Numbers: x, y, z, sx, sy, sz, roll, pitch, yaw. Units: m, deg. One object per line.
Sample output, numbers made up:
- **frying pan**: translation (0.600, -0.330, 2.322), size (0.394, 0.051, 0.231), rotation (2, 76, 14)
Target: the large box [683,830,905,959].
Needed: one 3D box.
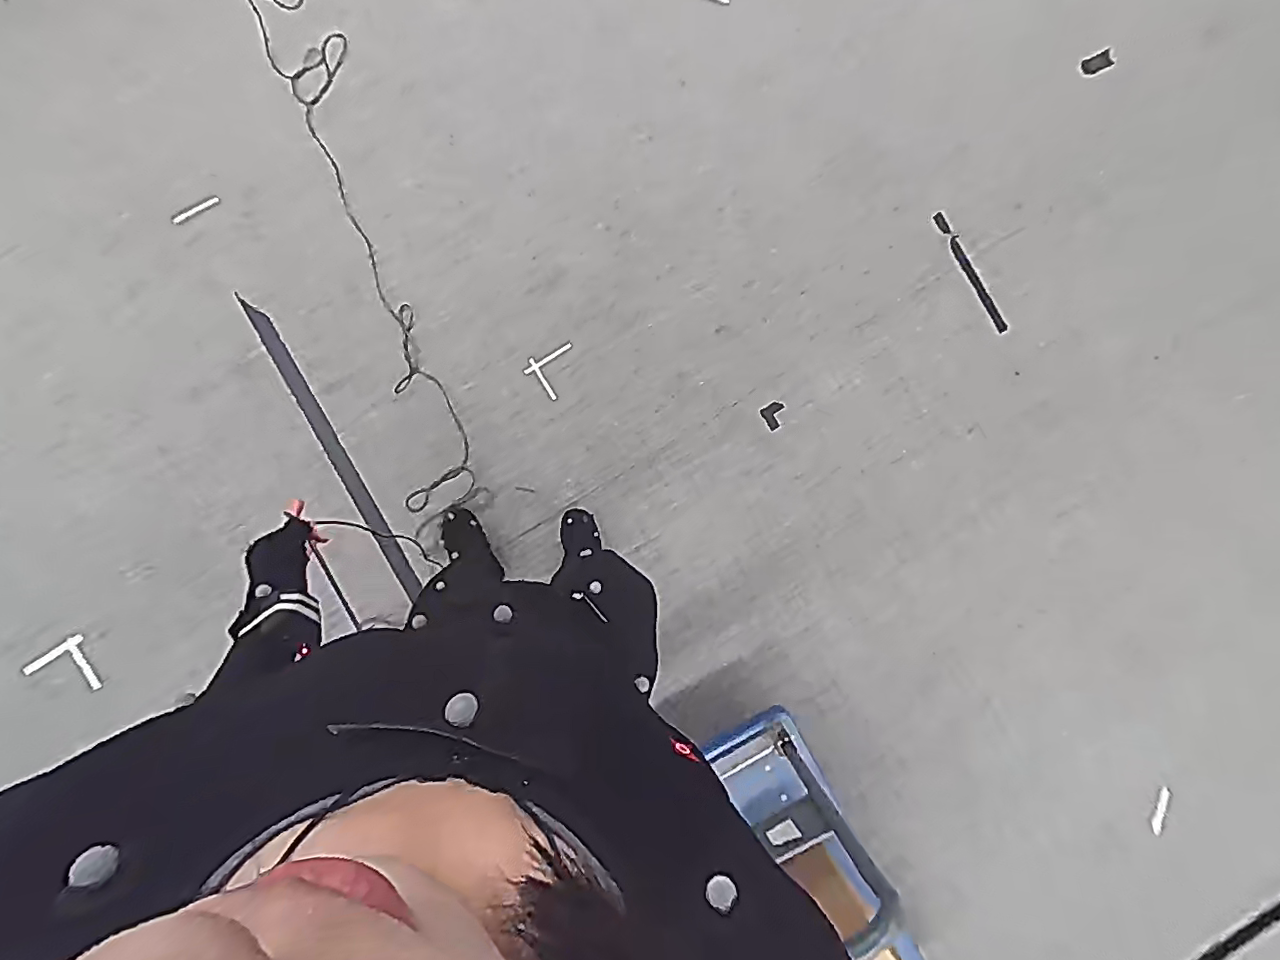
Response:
- **large box**: translation (0.350, 1.078, 1.159), size (0.408, 0.320, 0.320), rotation (-36, 88, -3)
